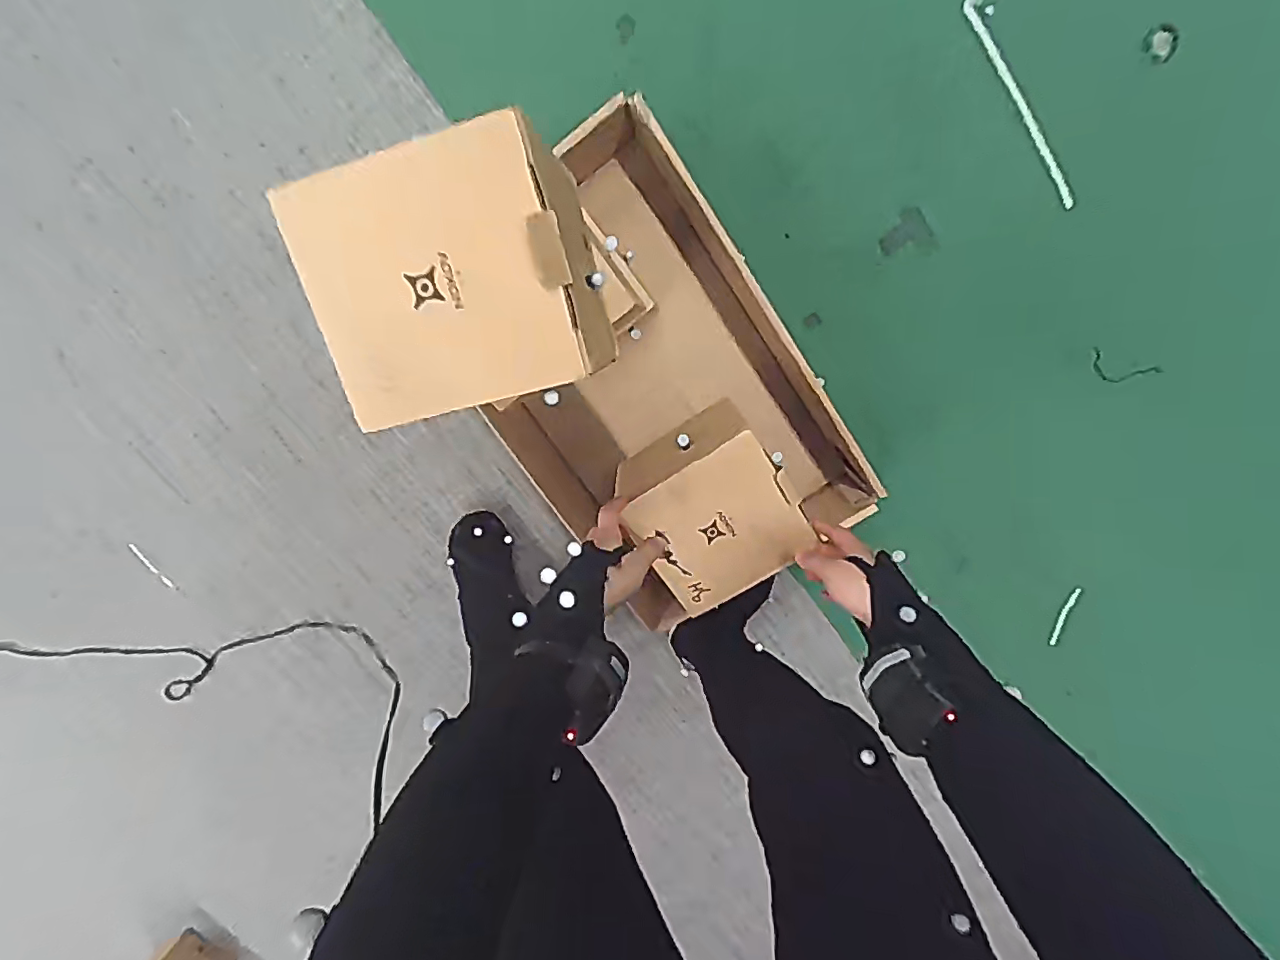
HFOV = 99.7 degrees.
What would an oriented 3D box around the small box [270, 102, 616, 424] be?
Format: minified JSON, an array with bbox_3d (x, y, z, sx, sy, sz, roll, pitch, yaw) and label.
[{"bbox_3d":[-0.129,-0.153,0.429,0.179,0.176,0.168,-13,105,7],"label":"small box"}]

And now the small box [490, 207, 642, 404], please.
[{"bbox_3d":[-0.112,-0.206,0.582,0.179,0.176,0.168,-34,102,13],"label":"small box"}]

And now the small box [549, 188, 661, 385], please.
[{"bbox_3d":[-0.087,-0.254,0.736,0.179,0.176,0.168,-35,101,13],"label":"small box"}]

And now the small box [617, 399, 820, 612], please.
[{"bbox_3d":[0.086,0.020,0.668,0.179,0.176,0.168,-32,107,11],"label":"small box"}]
